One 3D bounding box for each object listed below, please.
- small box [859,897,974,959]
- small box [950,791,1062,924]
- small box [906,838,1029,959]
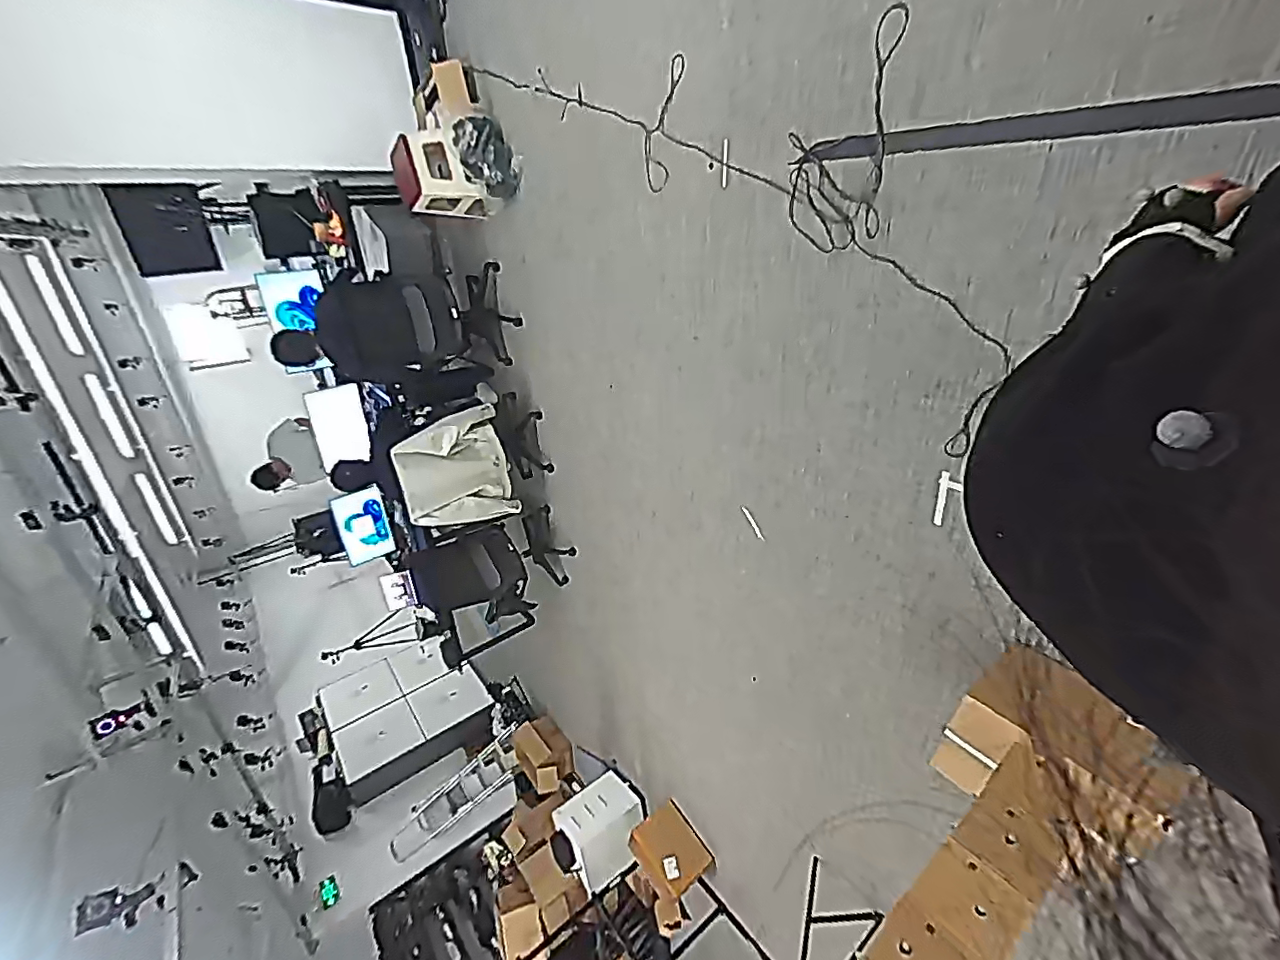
[{"bbox_3d":[0.502,0.917,0.979,0.168,0.176,0.179,31,134,45],"label":"small box"},{"bbox_3d":[0.758,0.814,1.152,0.168,0.176,0.179,33,133,42],"label":"small box"},{"bbox_3d":[0.629,0.861,1.065,0.168,0.176,0.179,30,132,44],"label":"small box"}]
